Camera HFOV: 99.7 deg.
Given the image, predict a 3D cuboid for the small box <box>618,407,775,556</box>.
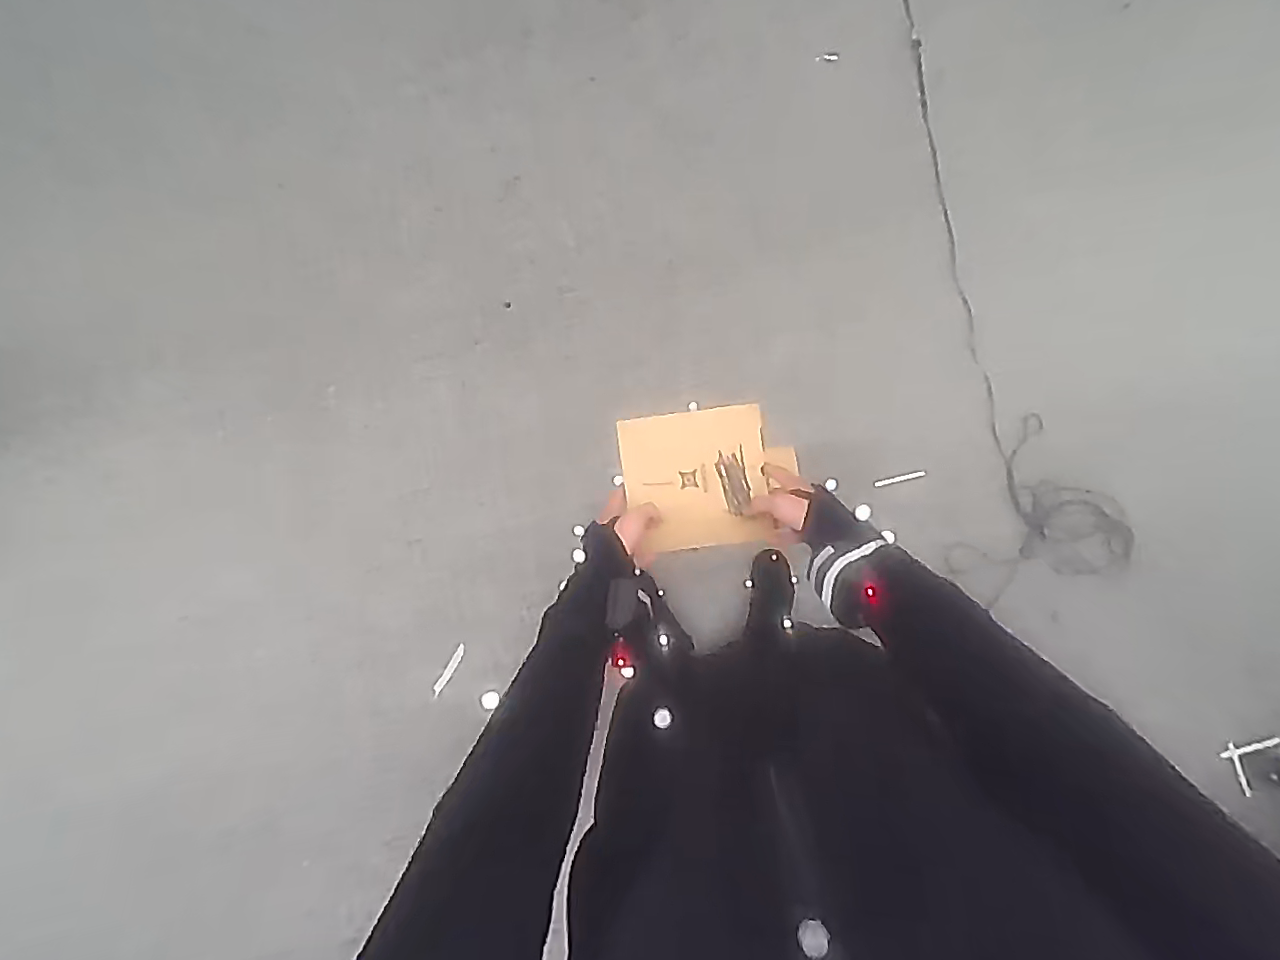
[{"bbox_3d":[0.067,-0.002,0.725,0.179,0.176,0.168,-8,92,1],"label":"small box"}]
